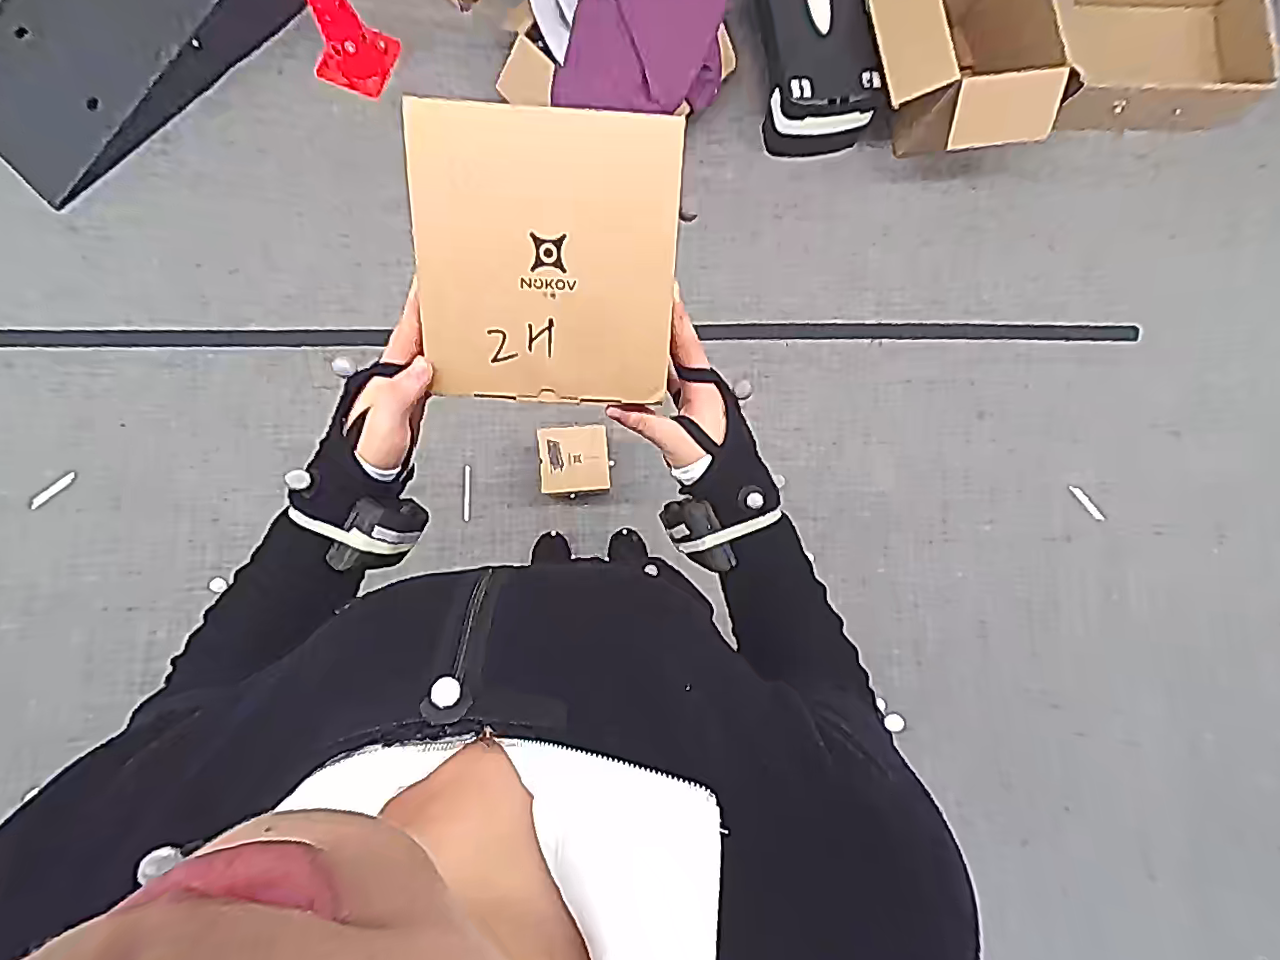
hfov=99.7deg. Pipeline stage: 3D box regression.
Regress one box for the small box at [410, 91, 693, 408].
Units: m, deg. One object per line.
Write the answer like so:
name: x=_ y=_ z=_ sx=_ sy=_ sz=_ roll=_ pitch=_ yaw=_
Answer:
small box: x=-0.058 y=-0.161 z=0.412 sx=0.168 sy=0.176 sz=0.179 roll=2 pitch=110 yaw=-3

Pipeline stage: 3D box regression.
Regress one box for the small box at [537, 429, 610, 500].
small box: x=-0.171 y=-0.036 z=1.434 sx=0.179 sy=0.176 sz=0.168 roll=-4 pitch=85 yaw=-4
